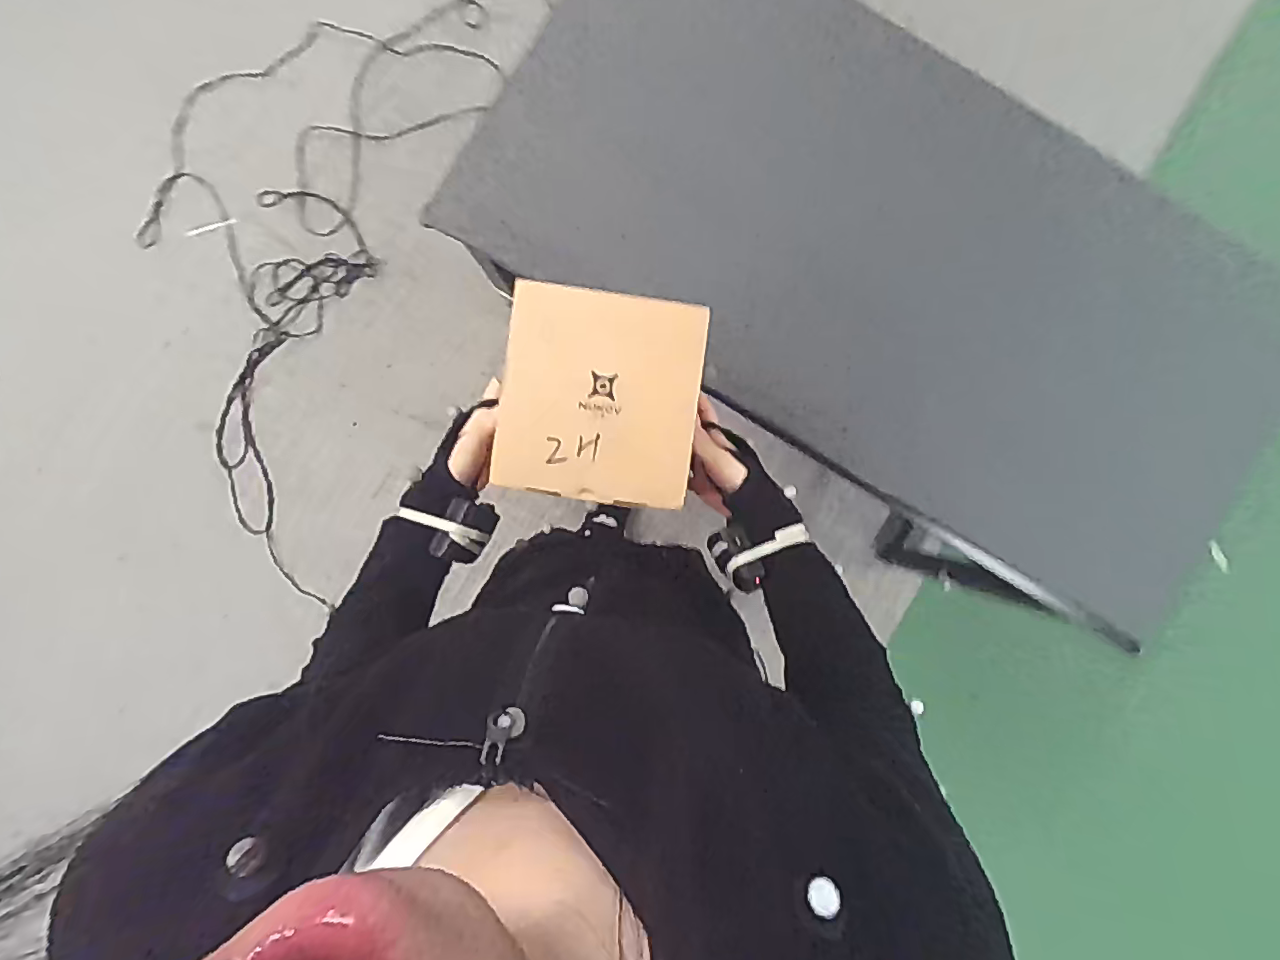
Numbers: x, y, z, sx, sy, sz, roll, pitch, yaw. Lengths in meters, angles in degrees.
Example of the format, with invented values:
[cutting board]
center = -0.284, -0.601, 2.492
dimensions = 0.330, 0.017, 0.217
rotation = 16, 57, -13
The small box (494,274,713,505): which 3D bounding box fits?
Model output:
[small box]
center = -0.034, -0.076, 0.535
dimensions = 0.168, 0.176, 0.179
rotation = 8, 91, -3
